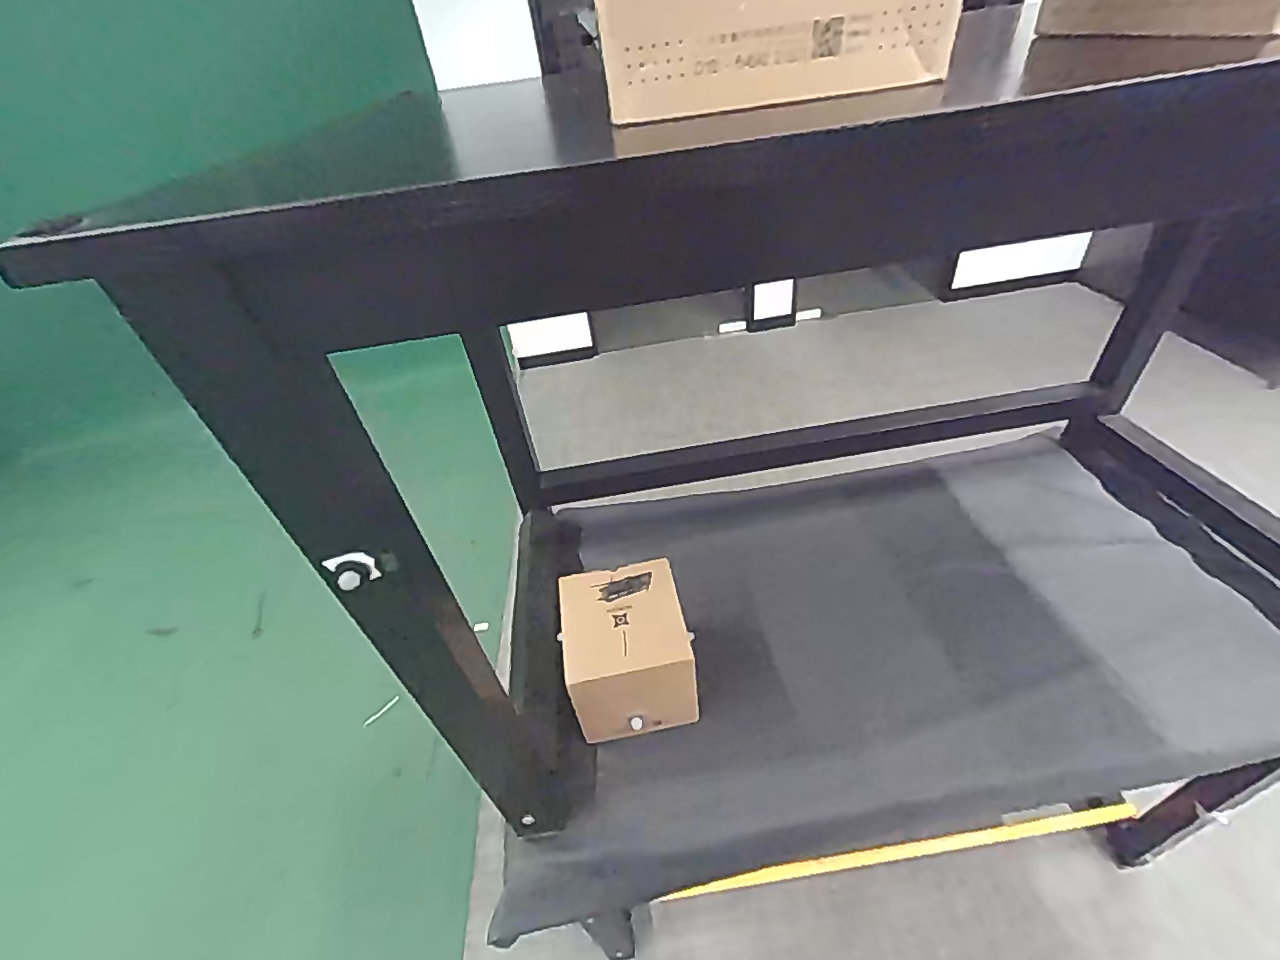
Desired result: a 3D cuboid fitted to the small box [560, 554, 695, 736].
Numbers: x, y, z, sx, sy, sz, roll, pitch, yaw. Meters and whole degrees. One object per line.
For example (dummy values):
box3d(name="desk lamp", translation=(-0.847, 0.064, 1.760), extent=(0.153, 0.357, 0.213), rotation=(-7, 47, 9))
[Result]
box3d(name="small box", translation=(-0.020, 0.239, 0.786), extent=(0.168, 0.176, 0.179), rotation=(-11, 40, -3))

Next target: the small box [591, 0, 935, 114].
box3d(name="small box", translation=(0.052, -0.305, 0.283), extent=(0.168, 0.176, 0.179), rotation=(-7, 39, 2))
